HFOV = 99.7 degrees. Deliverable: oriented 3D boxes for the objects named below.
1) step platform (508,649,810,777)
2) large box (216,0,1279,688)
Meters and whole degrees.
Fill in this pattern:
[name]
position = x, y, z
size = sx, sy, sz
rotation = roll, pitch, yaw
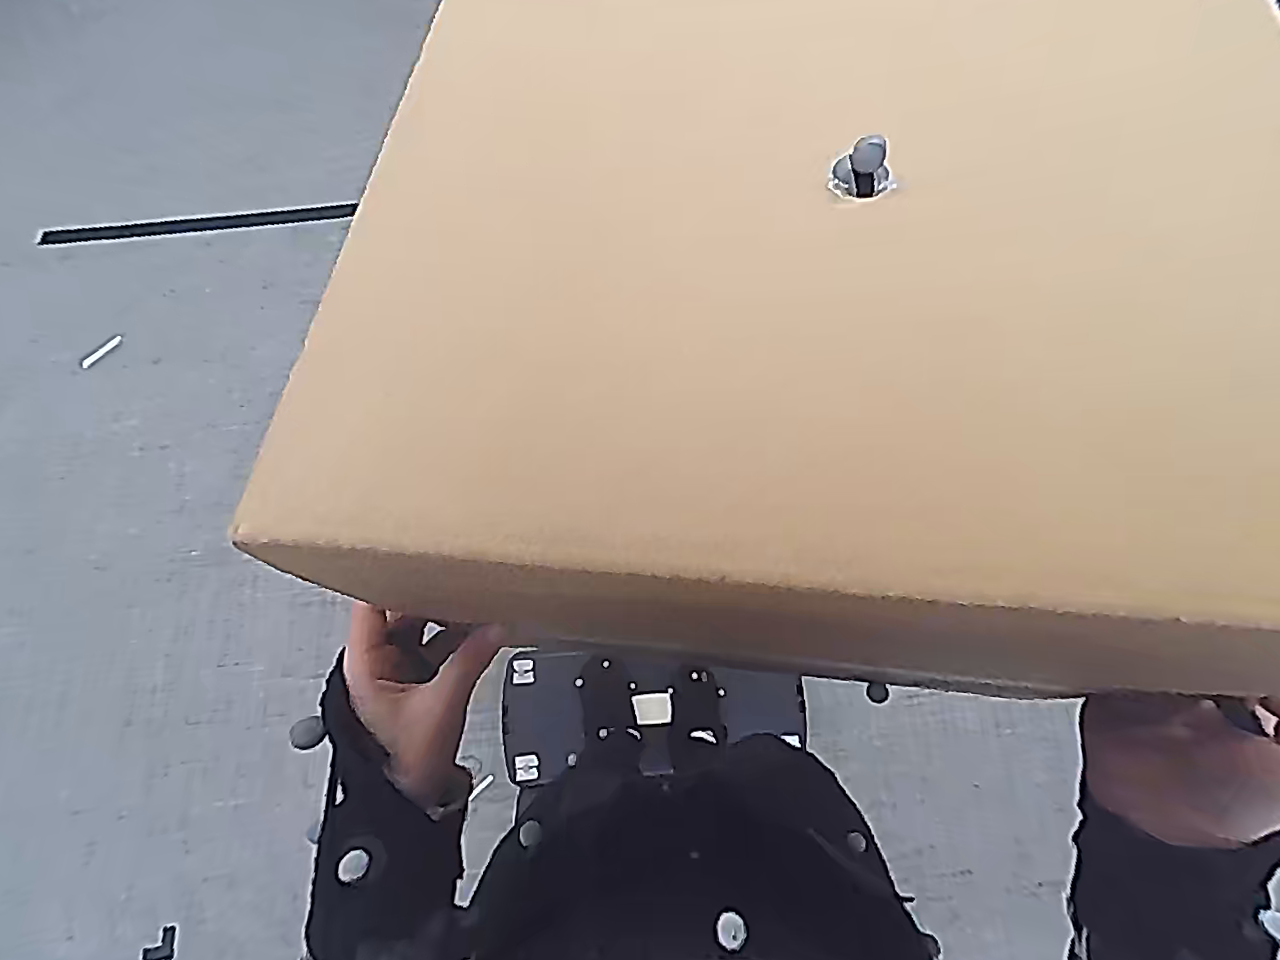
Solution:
[step platform]
position = 0.040, 0.517, 1.266
size = 0.684, 0.204, 0.286
rotation = 0, 77, 0
[large box]
position = 0.075, -0.051, 0.348
size = 0.408, 0.320, 0.320
rotation = 3, 69, 5
